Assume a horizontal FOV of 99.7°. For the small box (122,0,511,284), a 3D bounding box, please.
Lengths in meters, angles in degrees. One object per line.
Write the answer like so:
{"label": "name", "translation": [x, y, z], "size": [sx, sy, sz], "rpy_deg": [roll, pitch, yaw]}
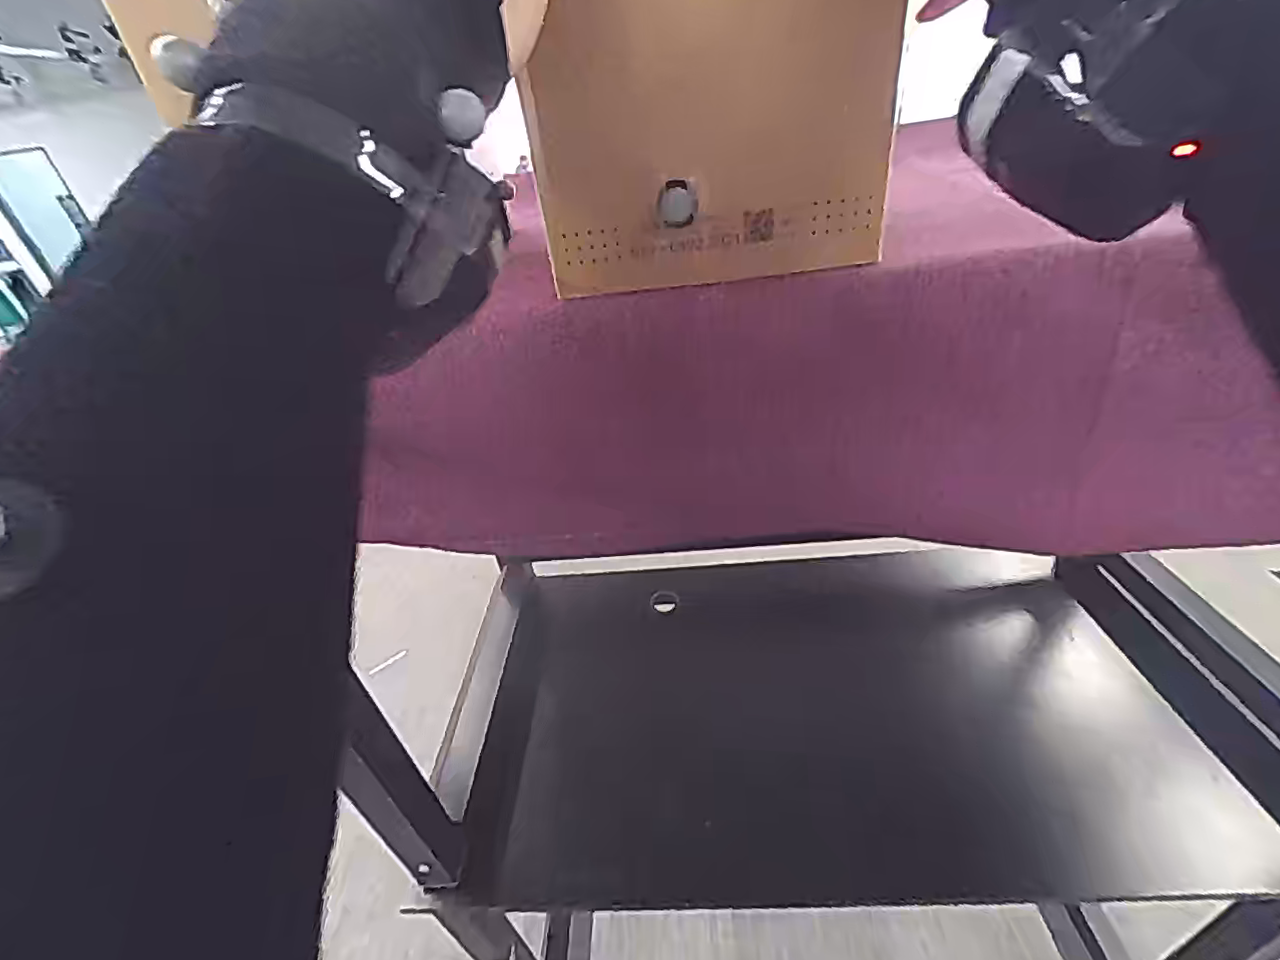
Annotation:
{"label": "small box", "translation": [-0.198, -0.252, 0.394], "size": [0.168, 0.176, 0.179], "rpy_deg": [-10, 33, -1]}

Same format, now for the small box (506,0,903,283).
{"label": "small box", "translation": [0.028, -0.219, 0.299], "size": [0.168, 0.176, 0.179], "rpy_deg": [-6, 34, 4]}
